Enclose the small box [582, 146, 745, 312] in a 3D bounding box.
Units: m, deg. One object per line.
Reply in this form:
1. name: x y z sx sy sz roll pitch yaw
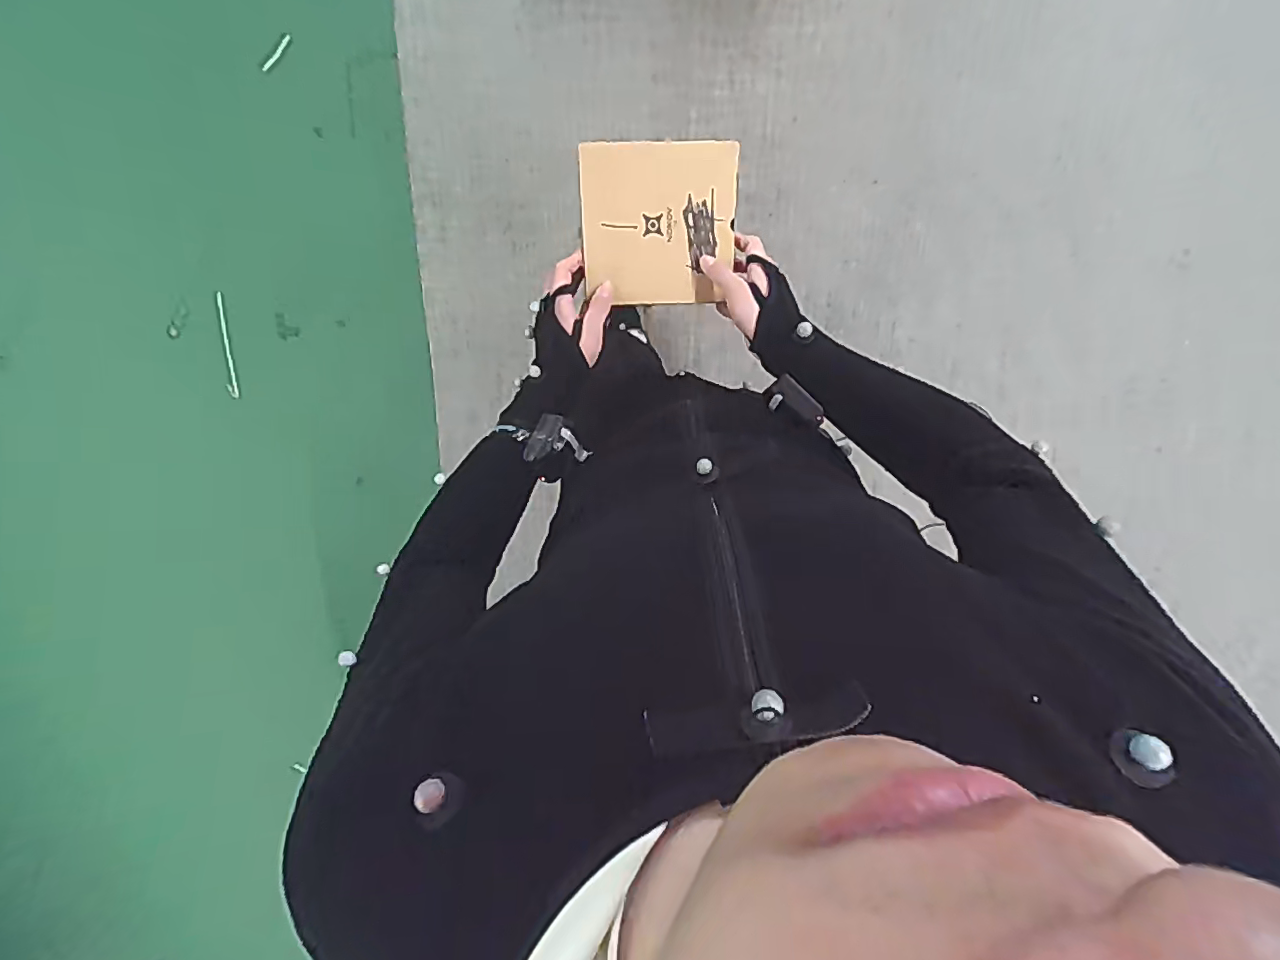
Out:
1. small box: 0.019 -0.298 0.669 0.179 0.176 0.168 -2 109 -4
